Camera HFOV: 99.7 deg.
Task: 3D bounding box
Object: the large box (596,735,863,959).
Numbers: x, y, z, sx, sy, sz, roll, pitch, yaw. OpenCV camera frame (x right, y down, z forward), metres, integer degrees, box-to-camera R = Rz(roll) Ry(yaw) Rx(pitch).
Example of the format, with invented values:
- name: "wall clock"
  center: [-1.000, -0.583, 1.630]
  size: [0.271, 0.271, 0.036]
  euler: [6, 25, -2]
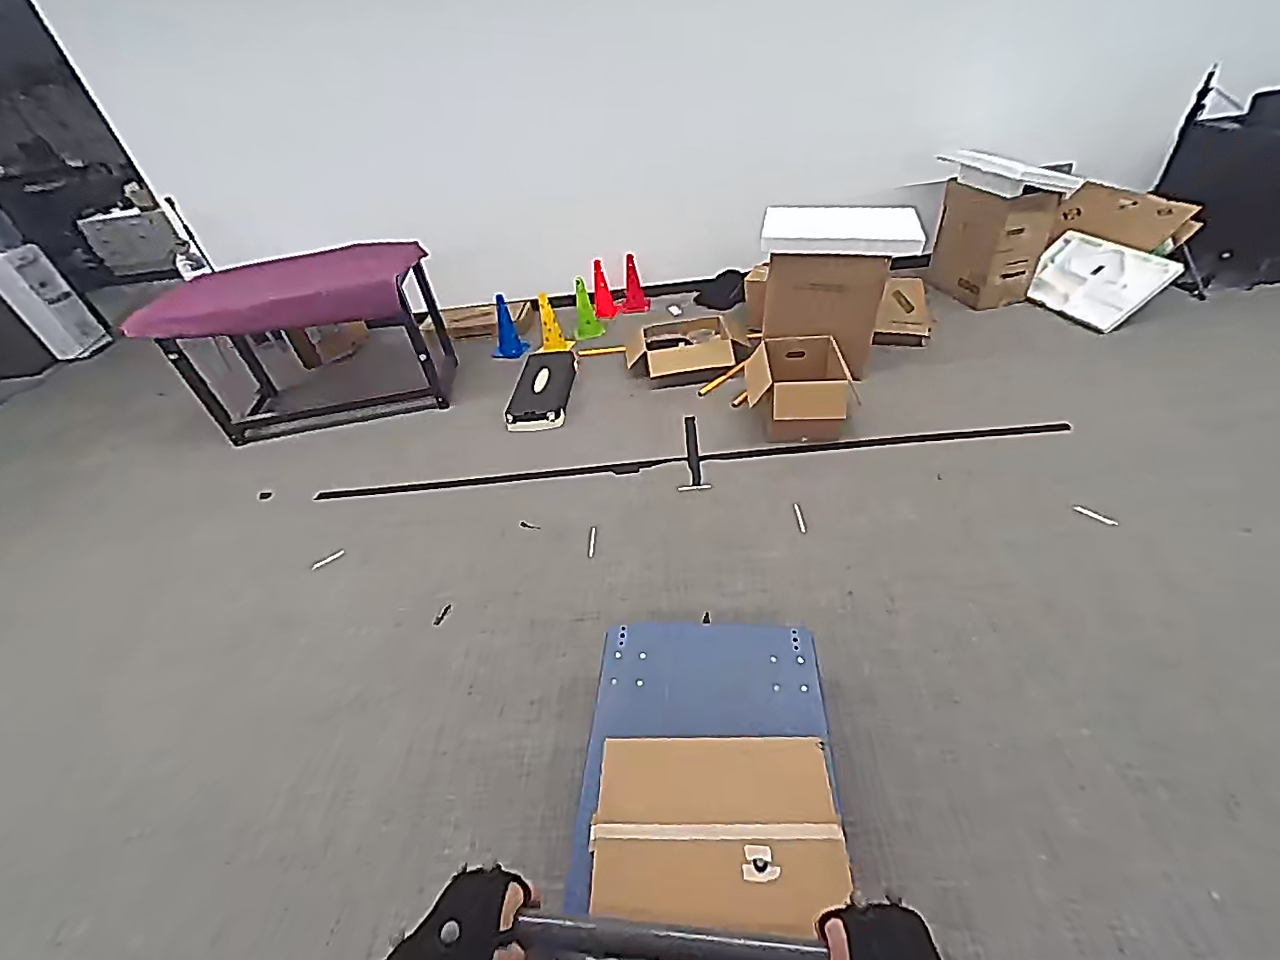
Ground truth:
- name: "large box"
  center: [0.144, 0.701, 1.004]
  size: [0.408, 0.320, 0.320]
  euler: [-3, 41, 5]
